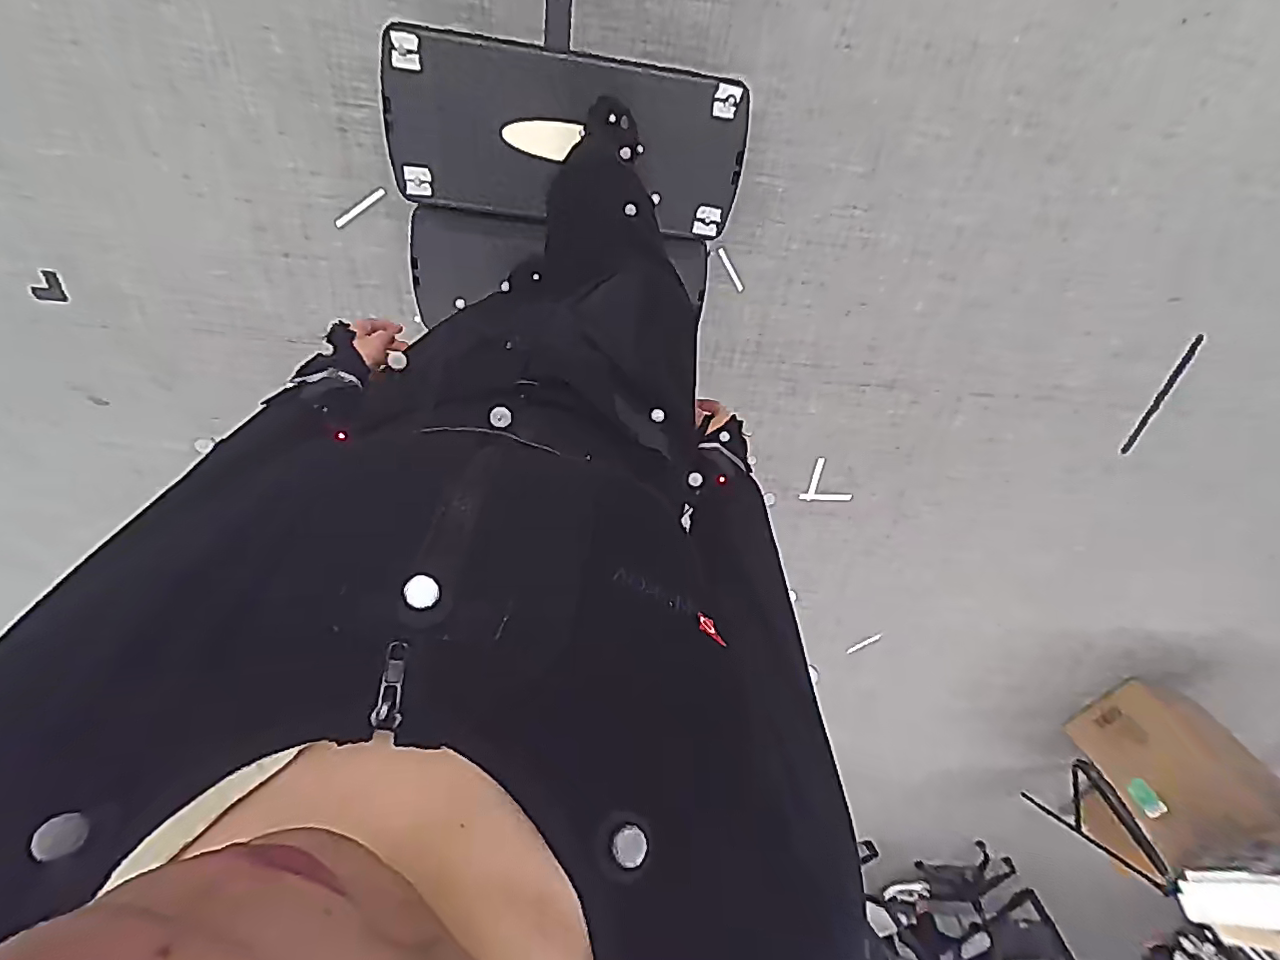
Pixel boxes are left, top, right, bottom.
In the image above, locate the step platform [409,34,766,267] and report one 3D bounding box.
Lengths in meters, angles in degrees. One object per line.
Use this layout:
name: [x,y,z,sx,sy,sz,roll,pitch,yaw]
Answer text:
step platform: [-0.100,-0.648,1.101,0.684,0.204,0.286,7,121,-11]
